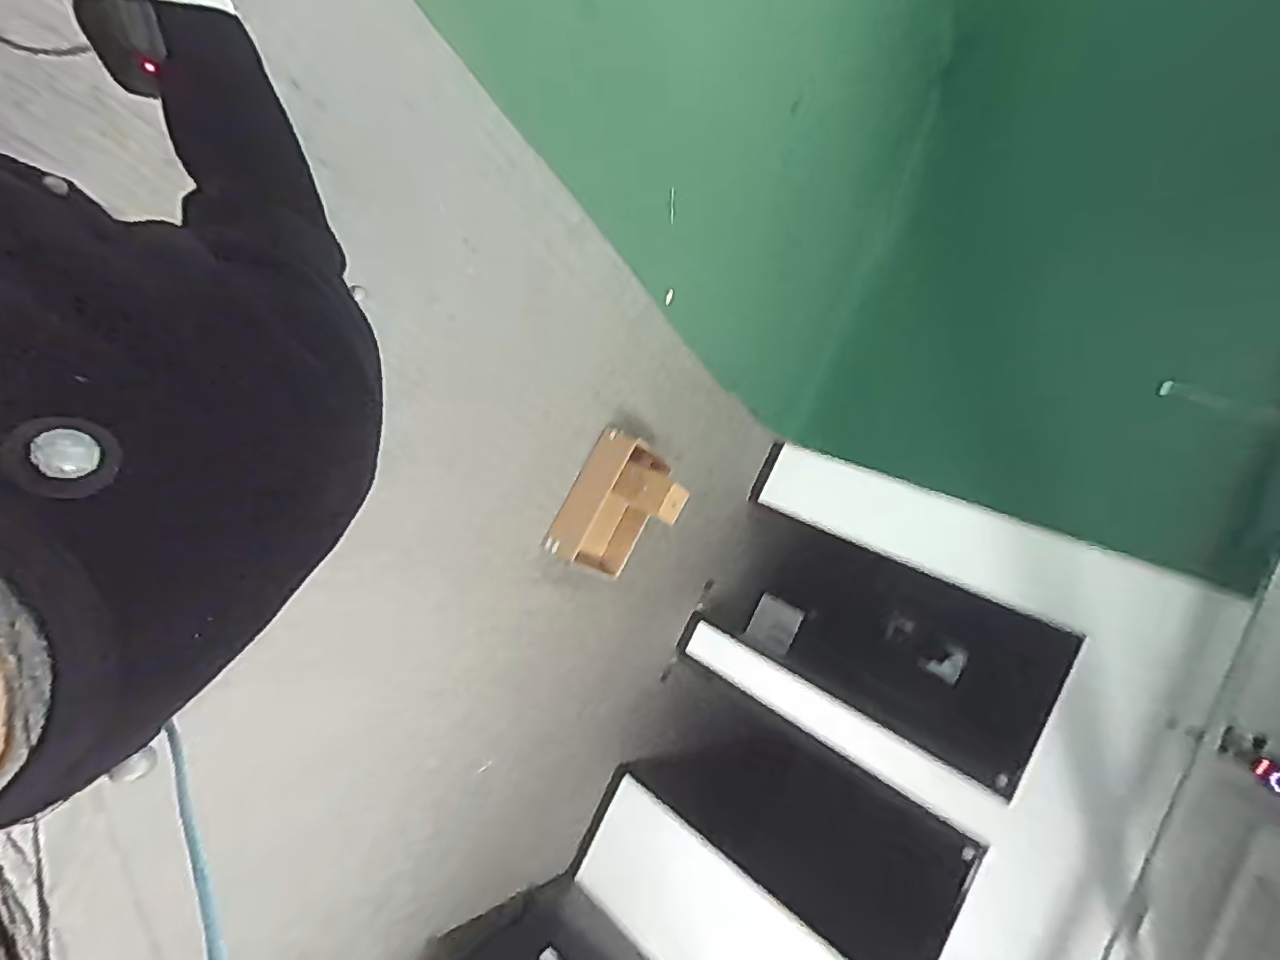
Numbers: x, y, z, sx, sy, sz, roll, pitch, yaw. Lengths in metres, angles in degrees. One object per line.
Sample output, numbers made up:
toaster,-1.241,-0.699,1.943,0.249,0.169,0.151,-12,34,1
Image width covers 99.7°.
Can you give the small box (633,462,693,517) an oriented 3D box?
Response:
small box,0.101,0.038,2.392,0.168,0.176,0.179,-62,146,-6
